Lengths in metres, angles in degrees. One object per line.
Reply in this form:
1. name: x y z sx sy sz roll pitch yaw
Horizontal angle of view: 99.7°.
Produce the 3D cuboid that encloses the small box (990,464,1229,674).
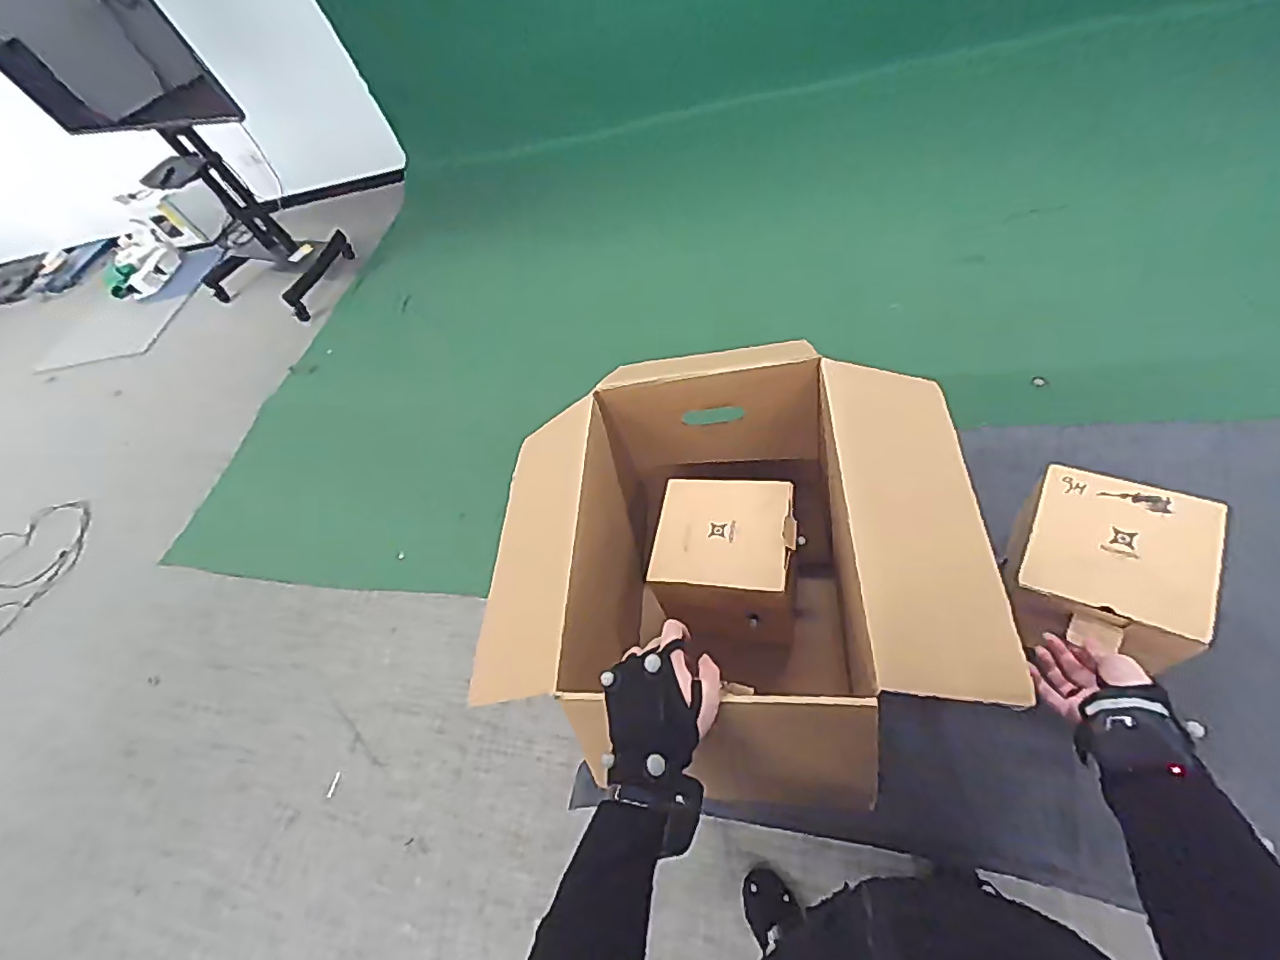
1. small box: 0.561 0.114 0.672 0.168 0.176 0.179 22 69 30
